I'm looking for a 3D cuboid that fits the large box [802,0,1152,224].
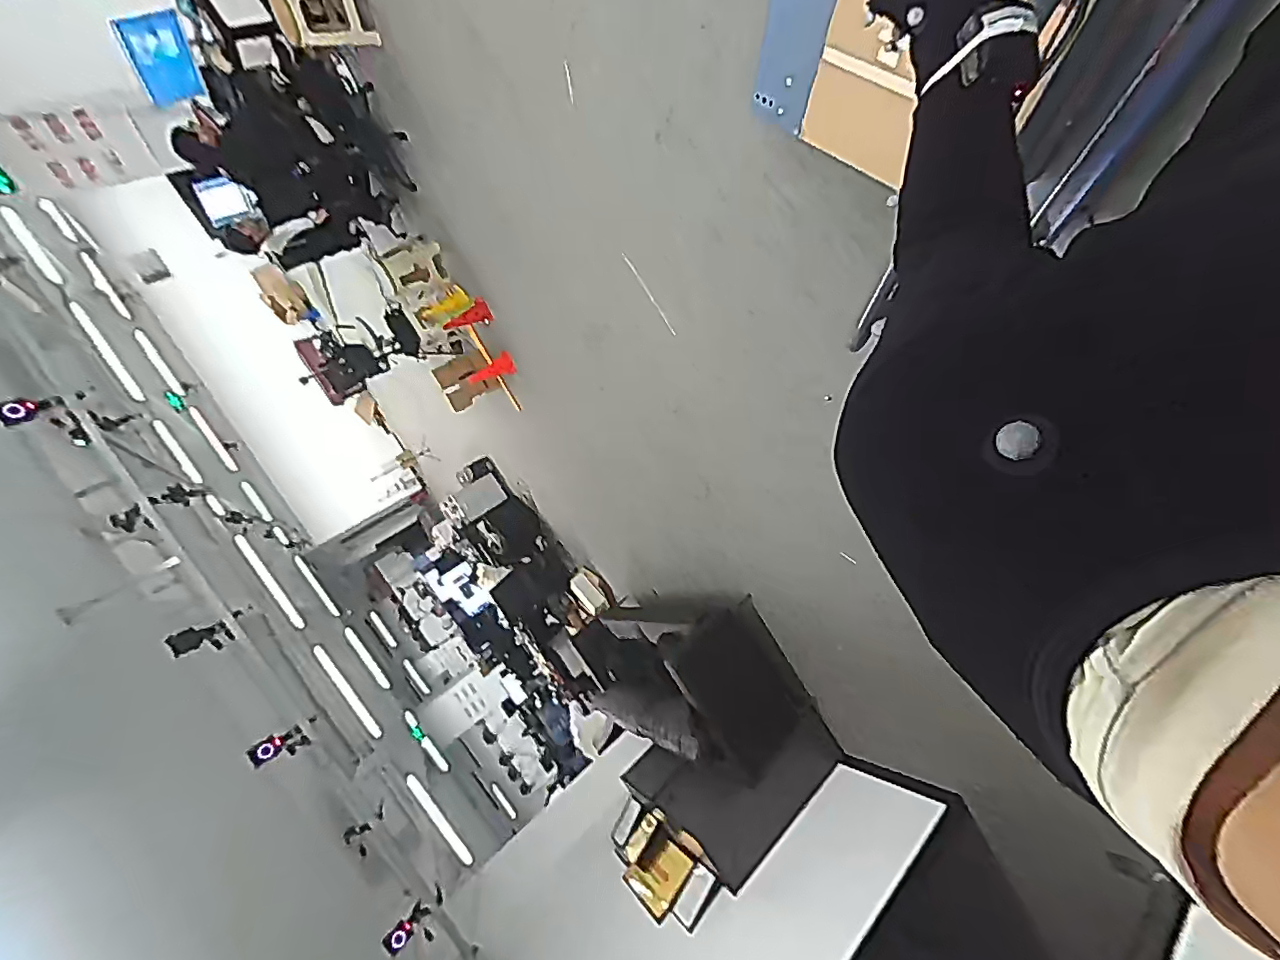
[{"bbox_3d":[0.601,-0.764,1.026,0.408,0.320,0.320,45,152,23],"label":"large box"}]
